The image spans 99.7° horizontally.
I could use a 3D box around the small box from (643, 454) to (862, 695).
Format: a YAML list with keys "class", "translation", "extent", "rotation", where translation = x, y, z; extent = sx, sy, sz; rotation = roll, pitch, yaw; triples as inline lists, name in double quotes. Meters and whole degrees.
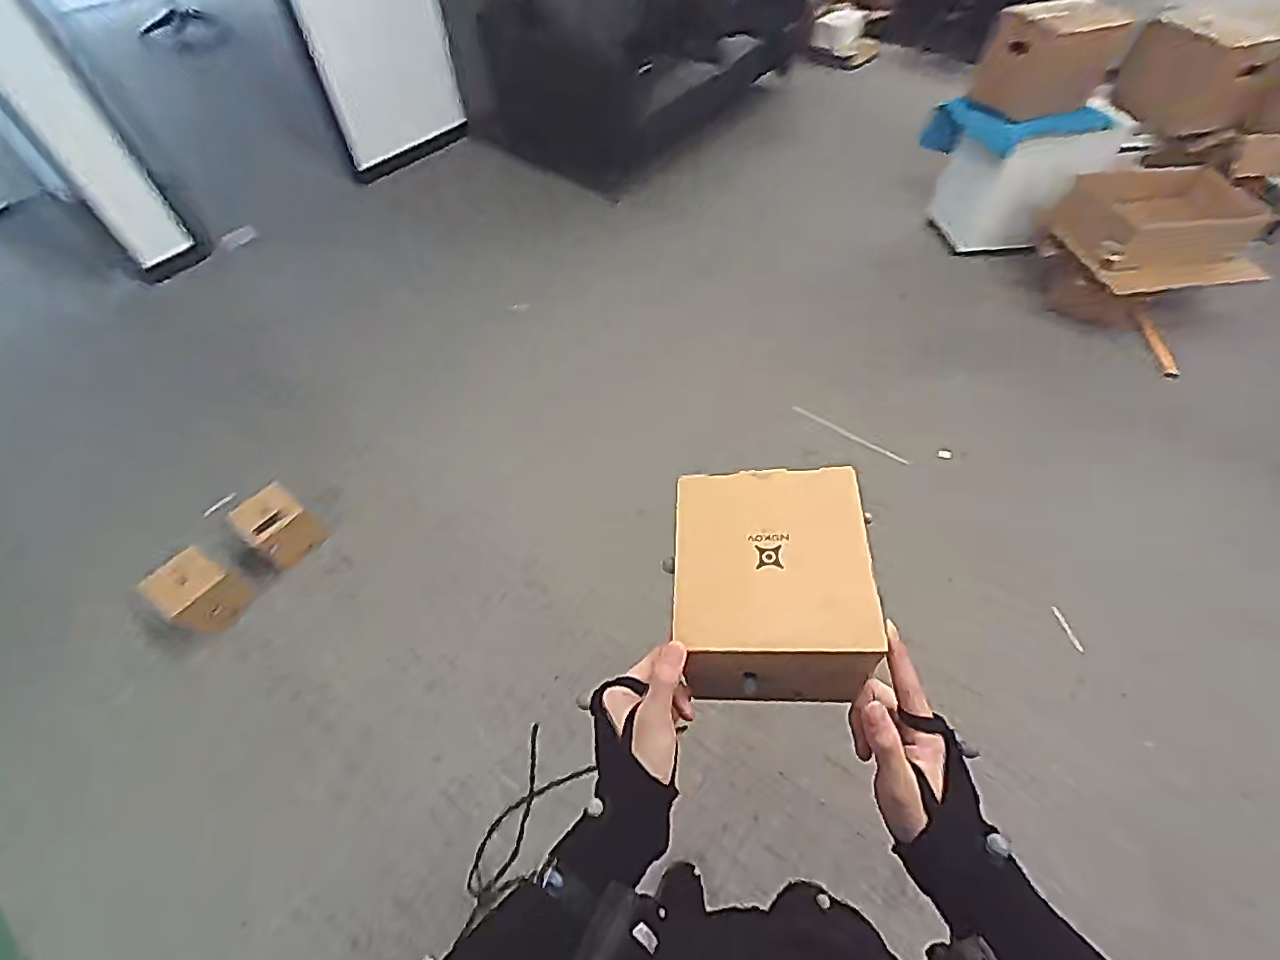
- class: "small box"
  translation: [0.104, 0.095, 0.514]
  extent: [0.168, 0.176, 0.179]
  rotation: [-1, 56, 11]

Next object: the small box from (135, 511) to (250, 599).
- class: "small box"
  translation: [-1.310, 0.229, 1.597]
  extent: [0.179, 0.176, 0.168]
  rotation: [34, 61, 19]
